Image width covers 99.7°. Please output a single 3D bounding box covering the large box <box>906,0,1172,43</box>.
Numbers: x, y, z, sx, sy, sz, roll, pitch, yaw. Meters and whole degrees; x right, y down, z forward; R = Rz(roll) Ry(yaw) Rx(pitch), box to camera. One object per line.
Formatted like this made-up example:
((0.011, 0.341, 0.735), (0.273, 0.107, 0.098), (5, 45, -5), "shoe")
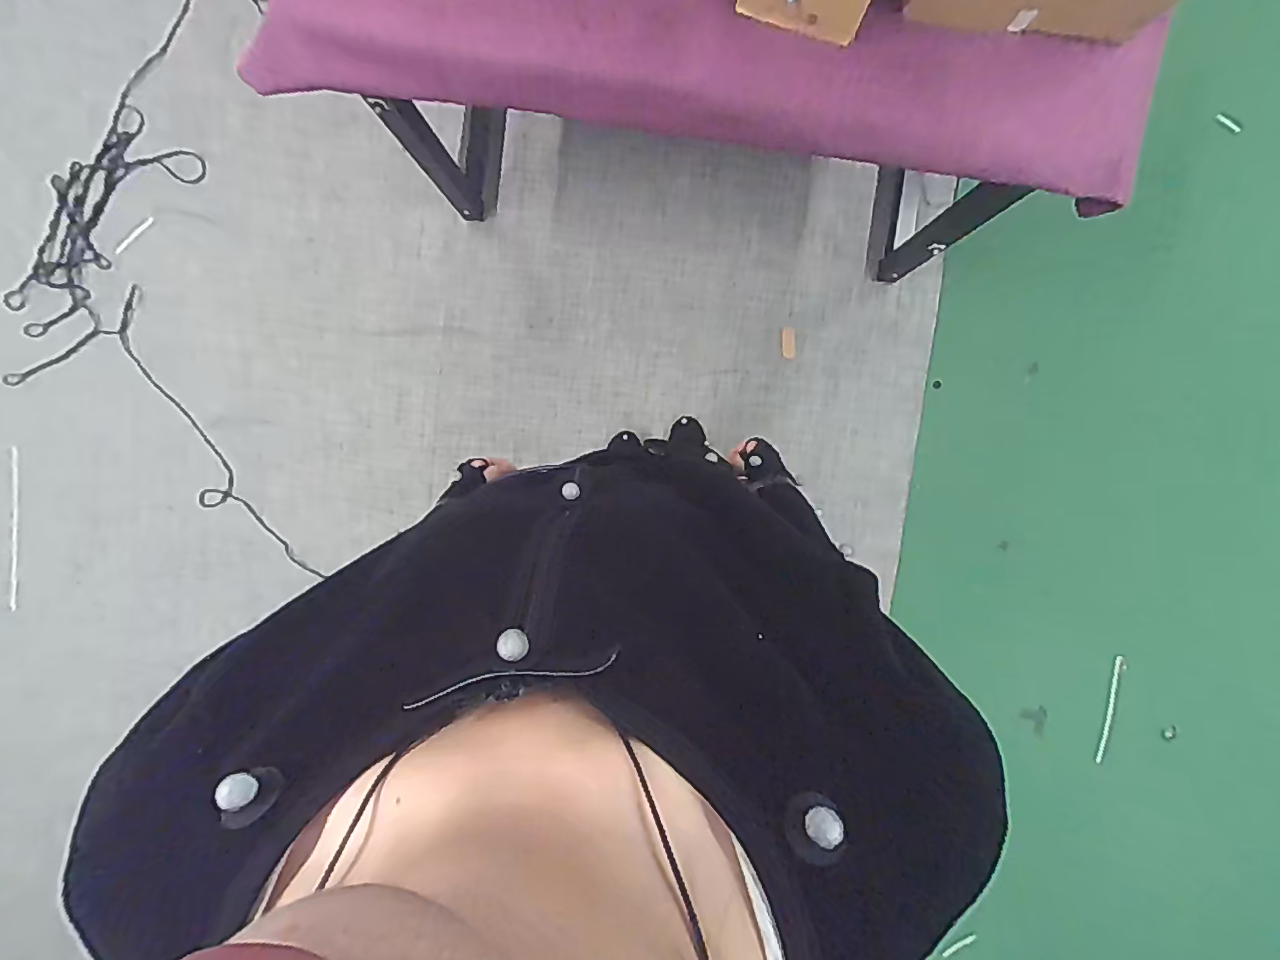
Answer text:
((0.526, -0.793, 0.571), (0.320, 0.320, 0.408), (8, 95, 3), "large box")
